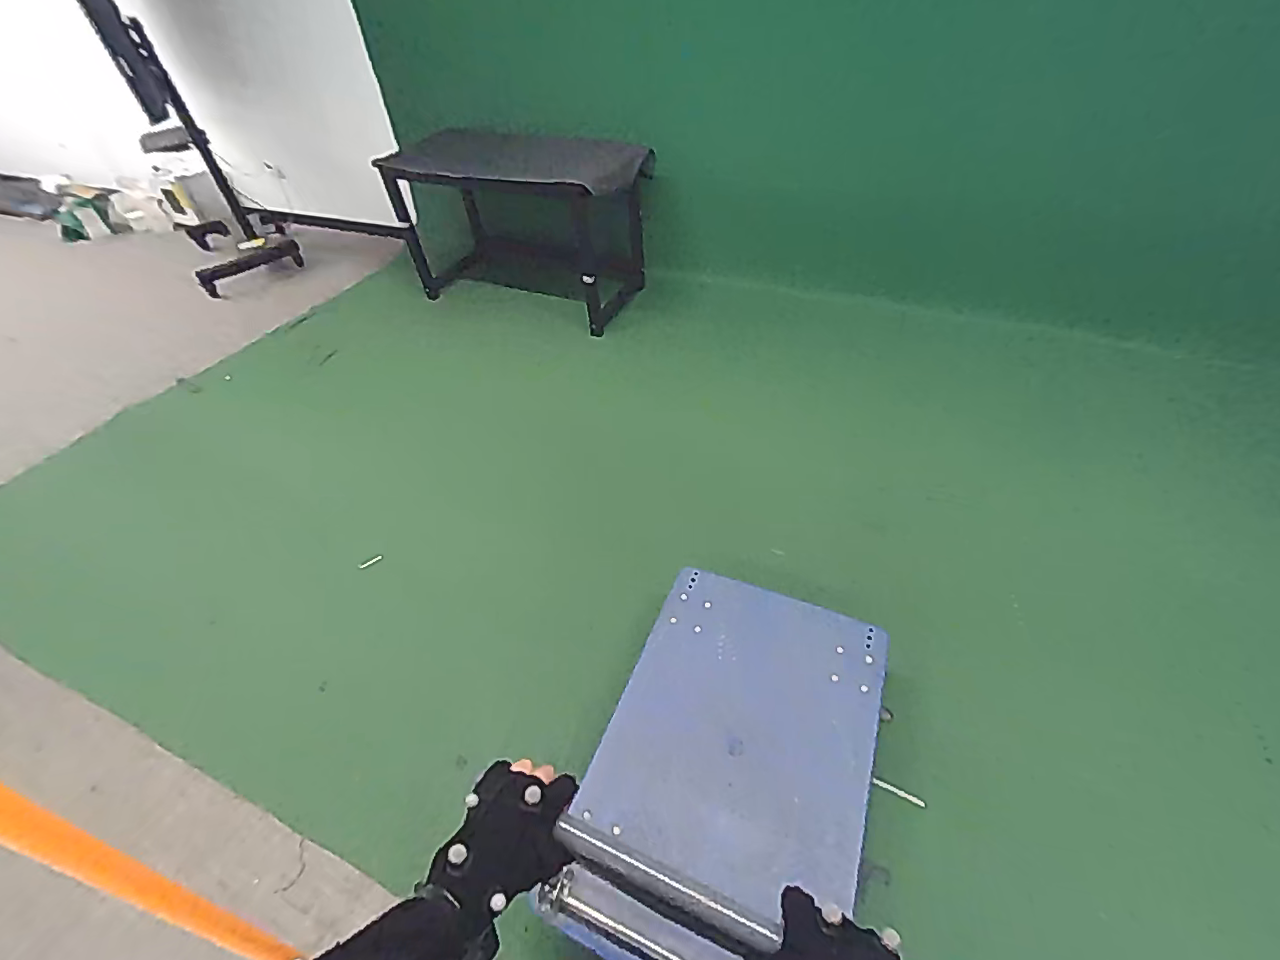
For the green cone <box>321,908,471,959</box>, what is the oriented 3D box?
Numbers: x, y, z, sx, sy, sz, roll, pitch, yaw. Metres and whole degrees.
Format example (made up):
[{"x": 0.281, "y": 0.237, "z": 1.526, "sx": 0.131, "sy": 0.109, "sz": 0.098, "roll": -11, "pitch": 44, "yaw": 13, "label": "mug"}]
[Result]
[{"x": -0.479, "y": 0.901, "z": 0.976, "sx": 0.202, "sy": 0.368, "sz": 0.200, "roll": 19, "pitch": 48, "yaw": 22, "label": "green cone"}]
